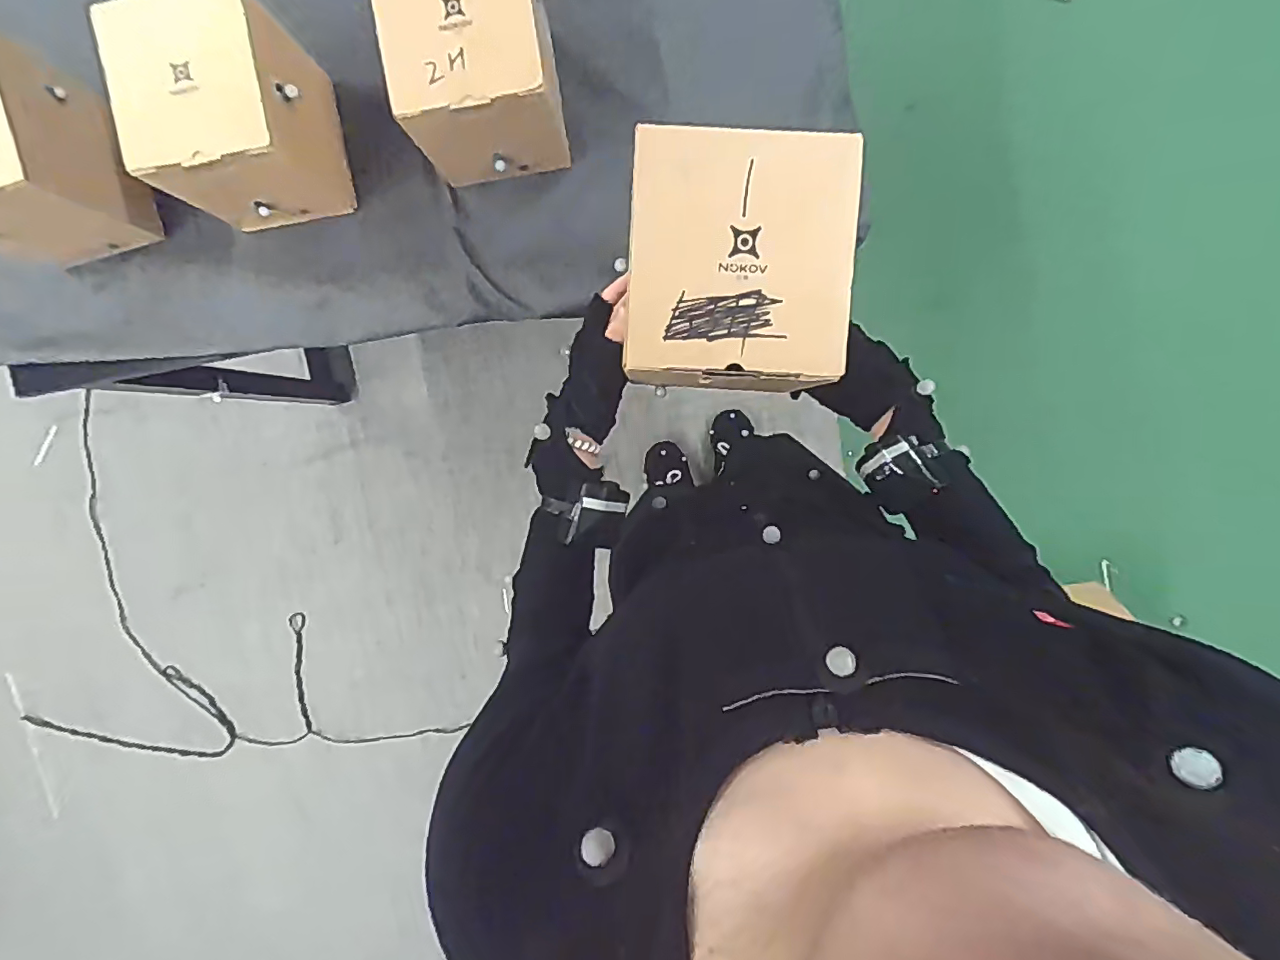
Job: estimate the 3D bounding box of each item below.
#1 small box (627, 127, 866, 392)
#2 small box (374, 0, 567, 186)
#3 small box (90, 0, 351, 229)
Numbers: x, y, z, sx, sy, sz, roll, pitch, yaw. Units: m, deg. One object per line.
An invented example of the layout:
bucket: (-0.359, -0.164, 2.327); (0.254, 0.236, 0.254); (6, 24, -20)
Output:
small box: (0.078, -0.172, 0.478); (0.168, 0.176, 0.179); (3, 95, 0)
small box: (-0.188, -0.482, 0.637); (0.168, 0.176, 0.179); (-8, 95, 3)
small box: (-0.482, -0.432, 0.651); (0.168, 0.176, 0.179); (-9, 95, 2)
